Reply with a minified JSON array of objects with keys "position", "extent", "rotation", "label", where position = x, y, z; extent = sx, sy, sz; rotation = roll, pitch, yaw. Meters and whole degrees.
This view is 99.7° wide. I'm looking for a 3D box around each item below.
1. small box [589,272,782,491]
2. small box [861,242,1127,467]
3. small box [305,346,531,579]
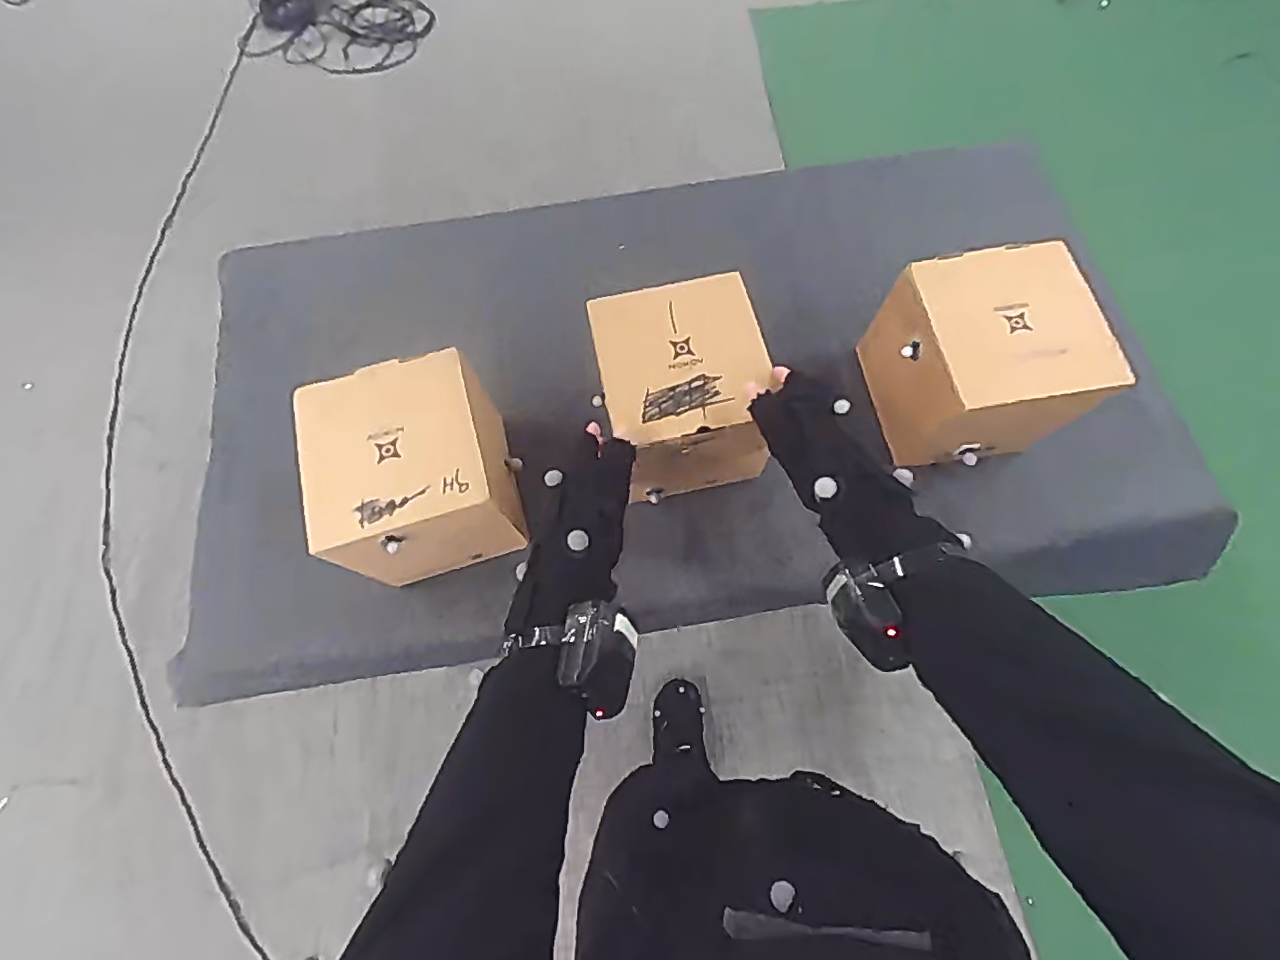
[{"position":[0.045,-0.097,0.613],"extent":[0.168,0.176,0.179],"rotation":[-11,70,-2],"label":"small box"},{"position":[0.375,-0.133,0.616],"extent":[0.168,0.176,0.179],"rotation":[-9,71,0],"label":"small box"},{"position":[-0.231,-0.010,0.589],"extent":[0.168,0.176,0.179],"rotation":[-17,69,-3],"label":"small box"}]
